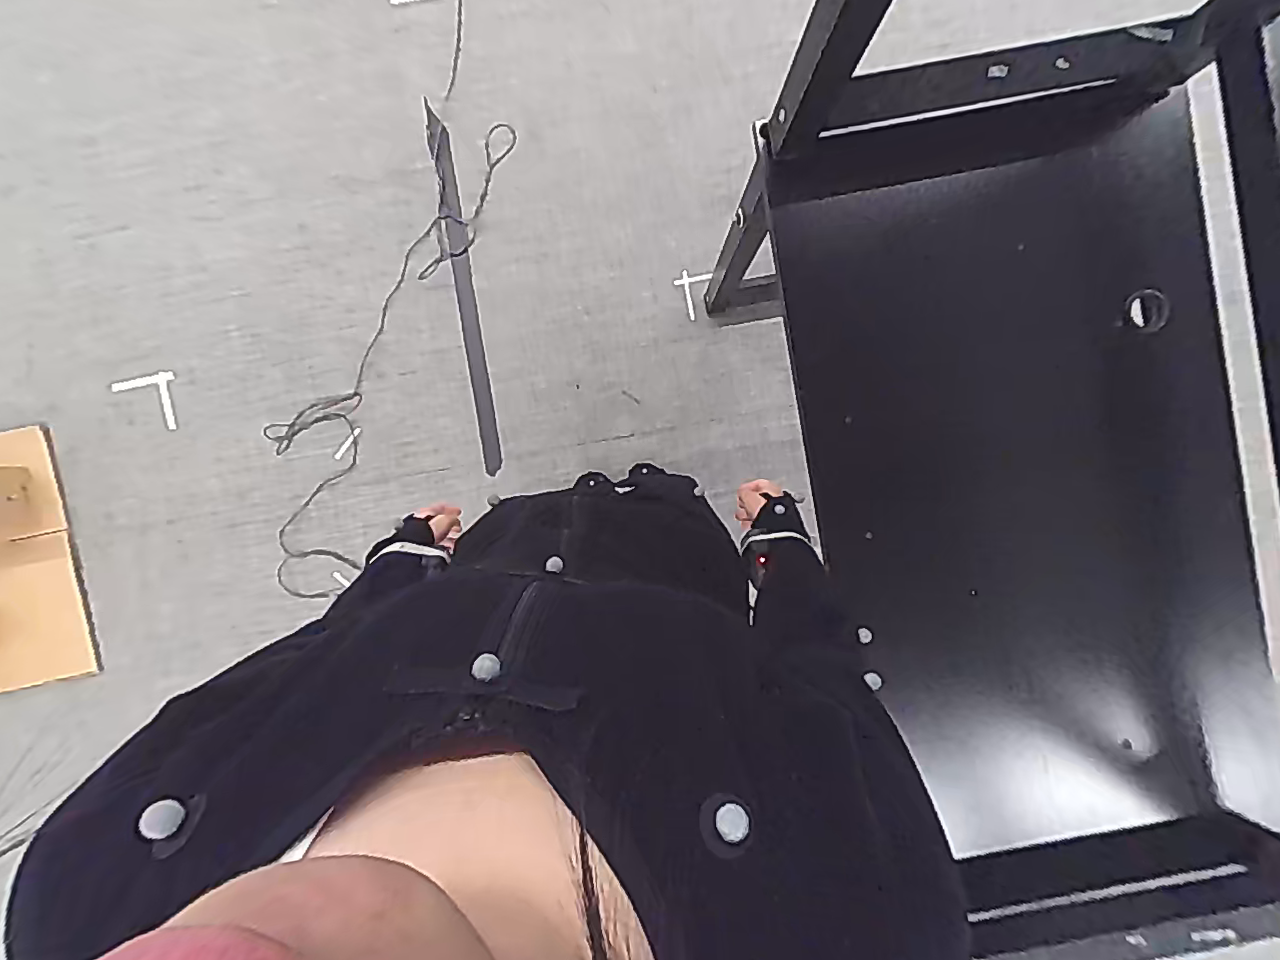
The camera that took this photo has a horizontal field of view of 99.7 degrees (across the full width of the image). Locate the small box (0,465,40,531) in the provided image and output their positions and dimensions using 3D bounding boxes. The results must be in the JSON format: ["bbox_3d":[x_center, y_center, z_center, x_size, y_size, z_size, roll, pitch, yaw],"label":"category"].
[{"bbox_3d":[-1.734,0.056,1.393,0.179,0.176,0.168,-11,92,-1],"label":"small box"}]
